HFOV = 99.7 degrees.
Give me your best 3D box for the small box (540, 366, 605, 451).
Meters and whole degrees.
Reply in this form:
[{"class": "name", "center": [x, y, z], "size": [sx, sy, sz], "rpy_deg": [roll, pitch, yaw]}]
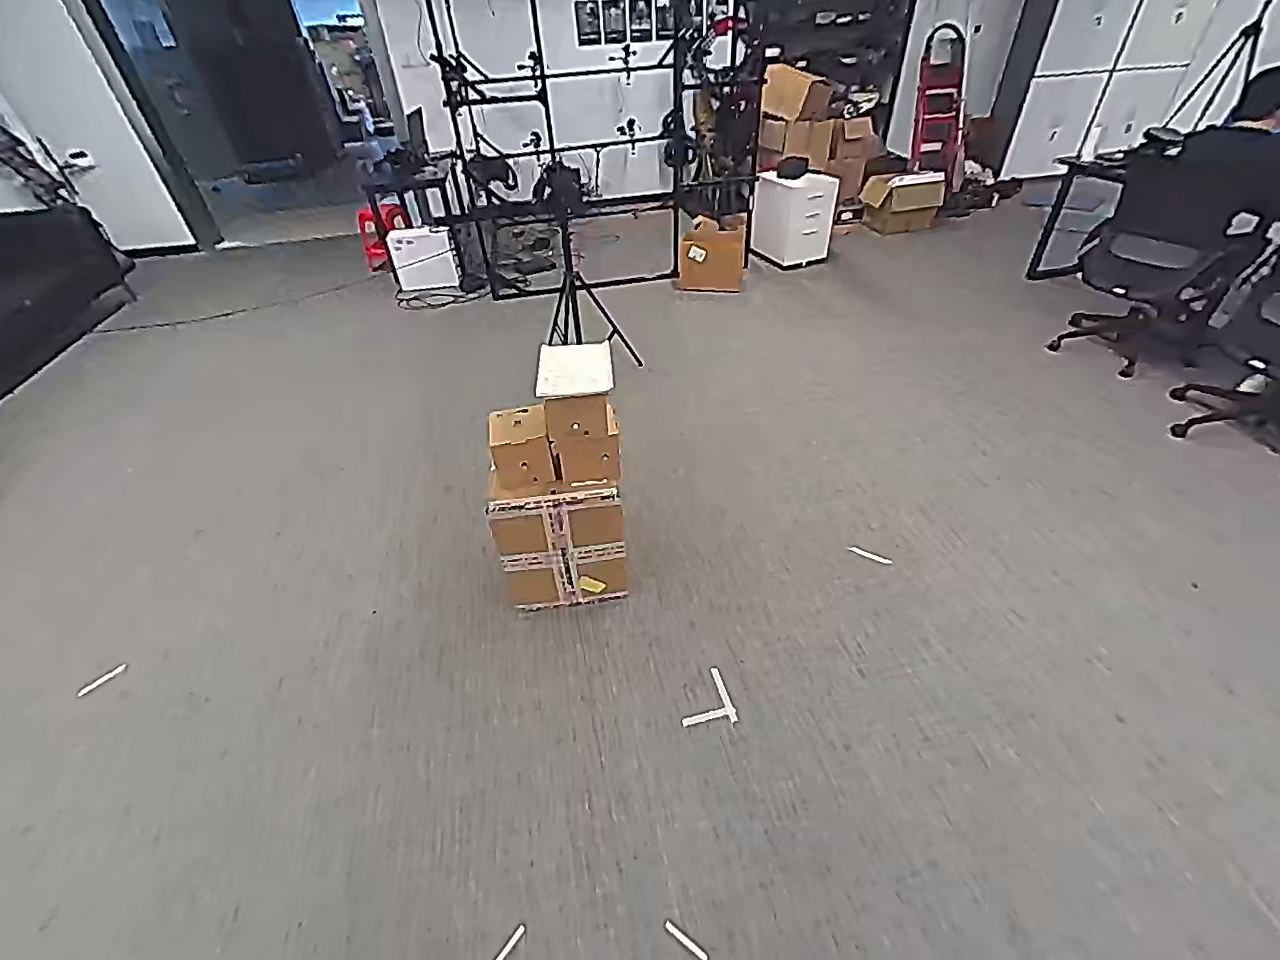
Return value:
[{"class": "small box", "center": [-0.184, -0.199, 1.508], "size": [0.168, 0.176, 0.179], "rpy_deg": [-4, 42, -4]}]
